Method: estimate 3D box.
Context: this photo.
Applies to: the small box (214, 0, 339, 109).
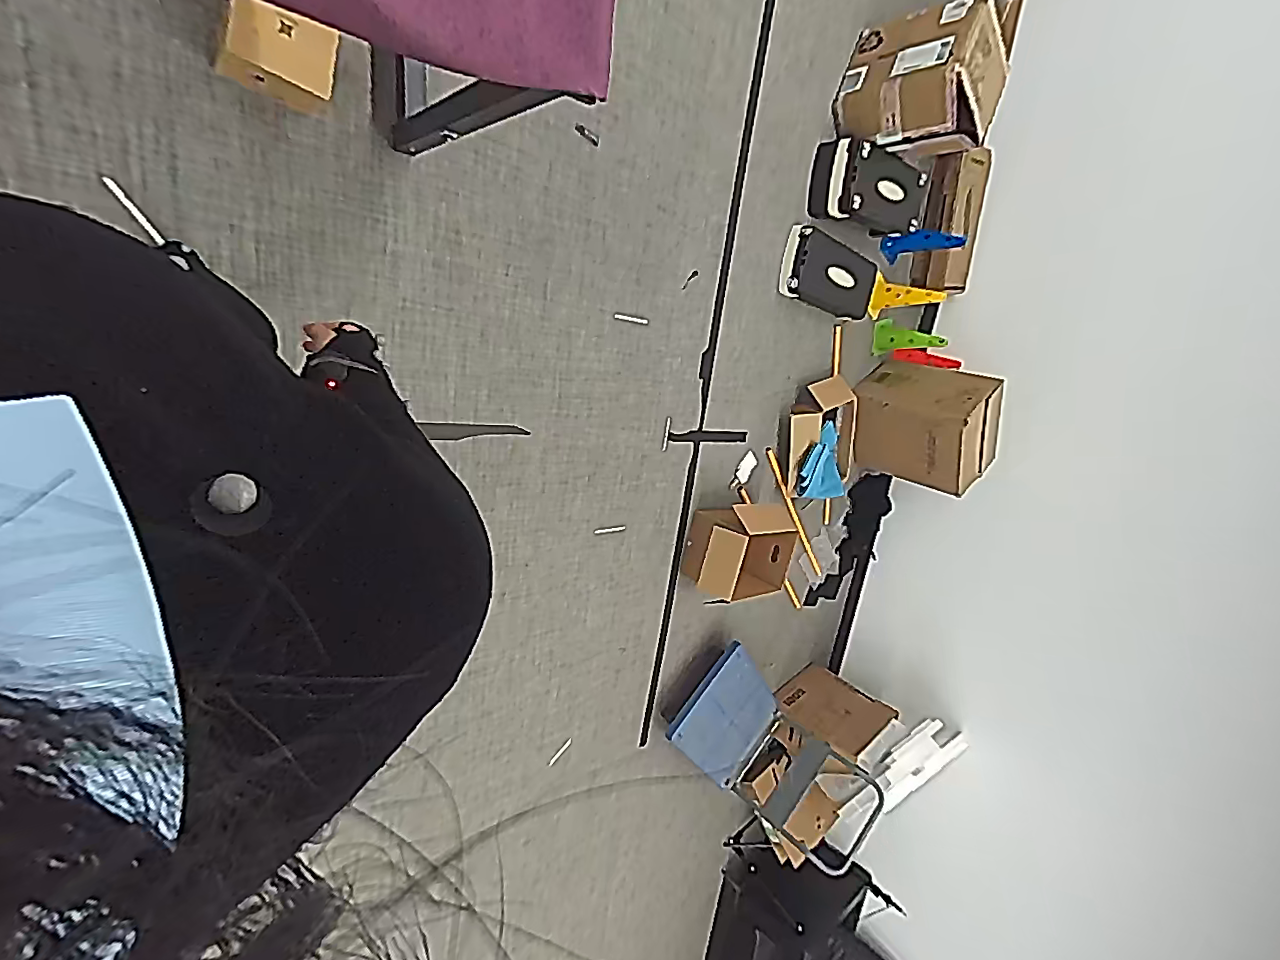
[{"bbox_3d":[-0.703,-0.856,1.040,0.168,0.176,0.179,6,102,-44],"label":"small box"}]
